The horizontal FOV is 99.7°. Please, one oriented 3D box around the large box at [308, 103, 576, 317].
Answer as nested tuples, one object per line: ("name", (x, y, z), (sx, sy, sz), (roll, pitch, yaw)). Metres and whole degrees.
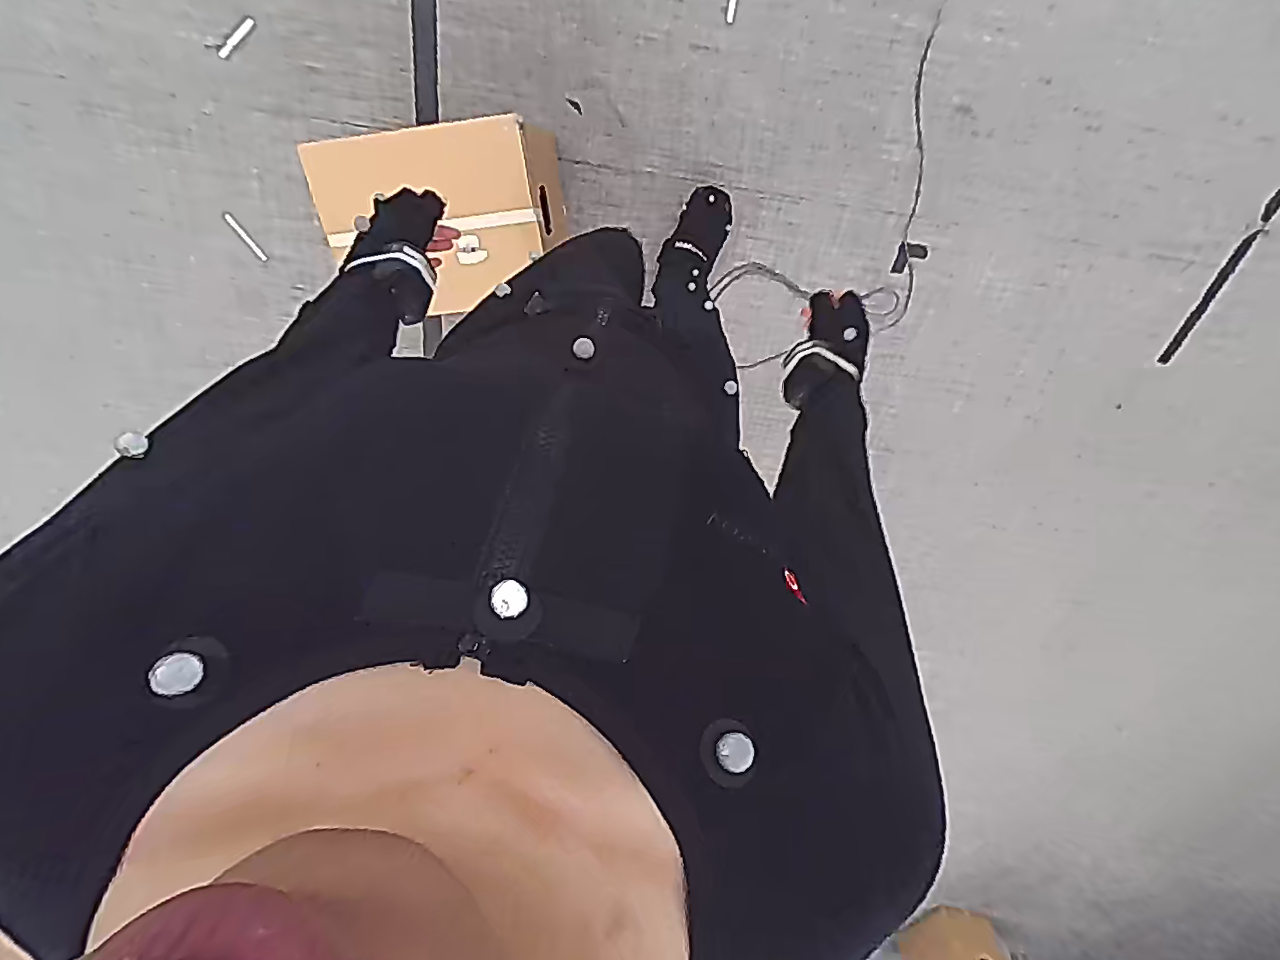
("large box", (-0.373, -0.555, 1.138), (0.408, 0.320, 0.320), (-6, 118, 5))
